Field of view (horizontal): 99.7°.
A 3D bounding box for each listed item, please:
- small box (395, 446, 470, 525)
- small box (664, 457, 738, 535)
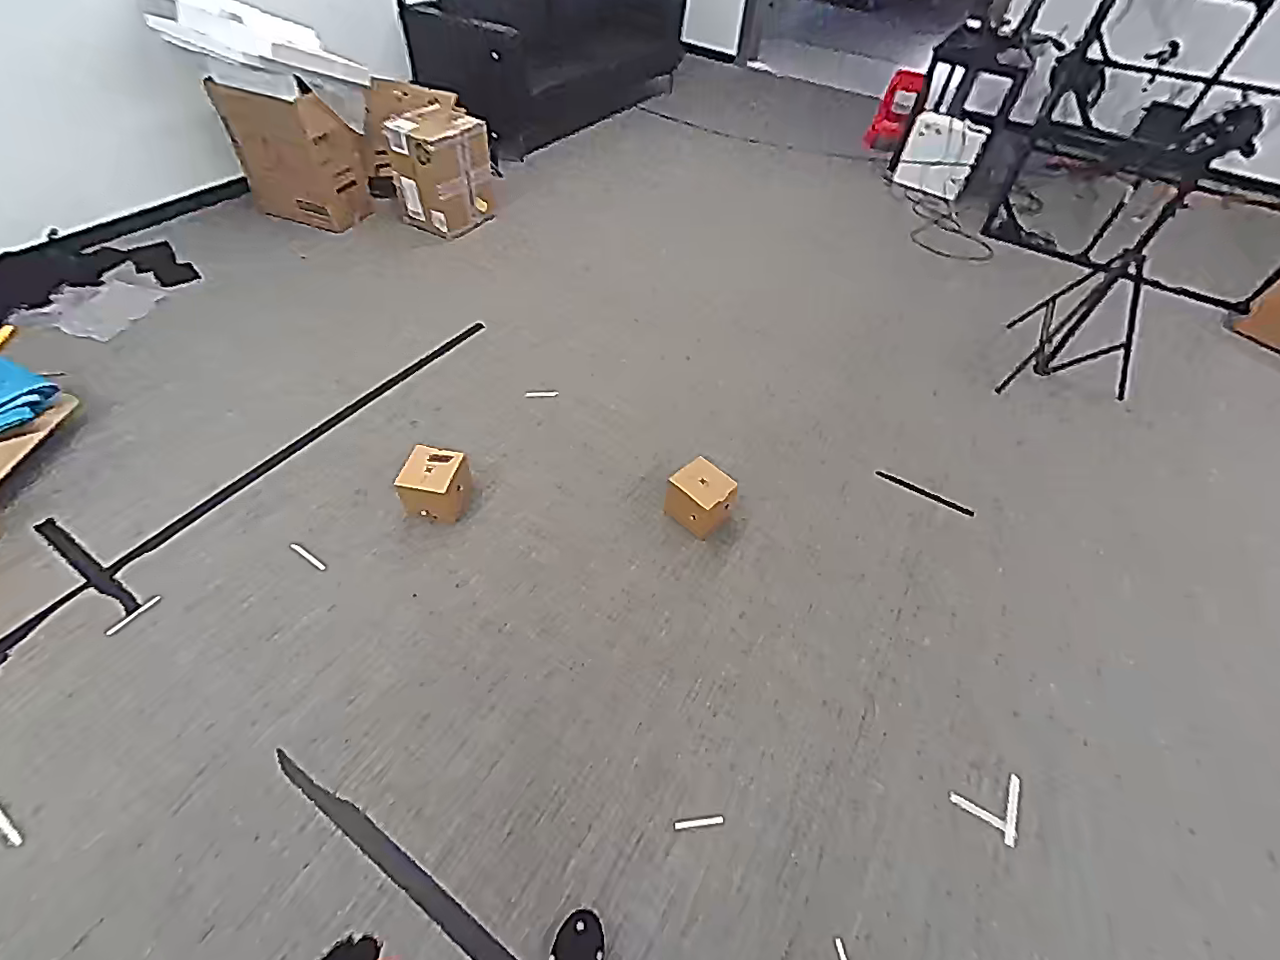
[{"bbox_3d":[-0.671,0.019,1.776,0.168,0.176,0.179,10,51,3],"label":"small box"},{"bbox_3d":[0.200,0.060,1.826,0.179,0.176,0.168,38,55,25],"label":"small box"}]
